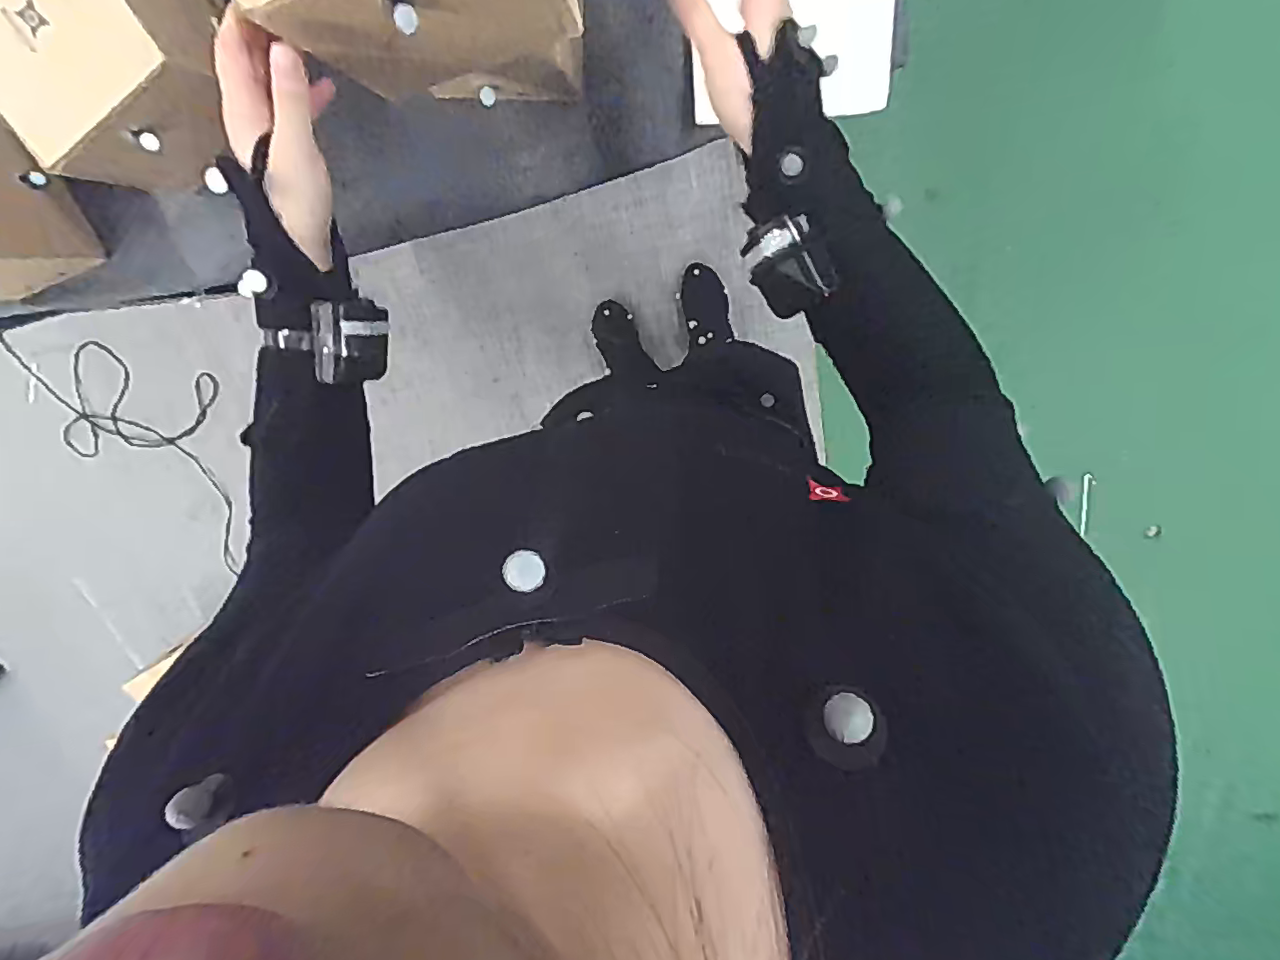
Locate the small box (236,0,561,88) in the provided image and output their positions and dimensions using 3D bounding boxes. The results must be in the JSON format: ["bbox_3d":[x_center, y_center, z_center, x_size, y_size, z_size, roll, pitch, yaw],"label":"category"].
[{"bbox_3d":[-0.158,-0.387,0.343,0.179,0.176,0.168,-11,111,10],"label":"small box"}]

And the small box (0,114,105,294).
[{"bbox_3d":[-0.791,-0.314,0.608,0.168,0.176,0.179,-16,111,11],"label":"small box"}]

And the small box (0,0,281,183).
[{"bbox_3d":[-0.517,-0.425,0.539,0.179,0.176,0.168,-26,109,14],"label":"small box"}]

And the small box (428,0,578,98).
[{"bbox_3d":[-0.152,-0.471,0.484,0.168,0.176,0.179,4,113,4],"label":"small box"}]
